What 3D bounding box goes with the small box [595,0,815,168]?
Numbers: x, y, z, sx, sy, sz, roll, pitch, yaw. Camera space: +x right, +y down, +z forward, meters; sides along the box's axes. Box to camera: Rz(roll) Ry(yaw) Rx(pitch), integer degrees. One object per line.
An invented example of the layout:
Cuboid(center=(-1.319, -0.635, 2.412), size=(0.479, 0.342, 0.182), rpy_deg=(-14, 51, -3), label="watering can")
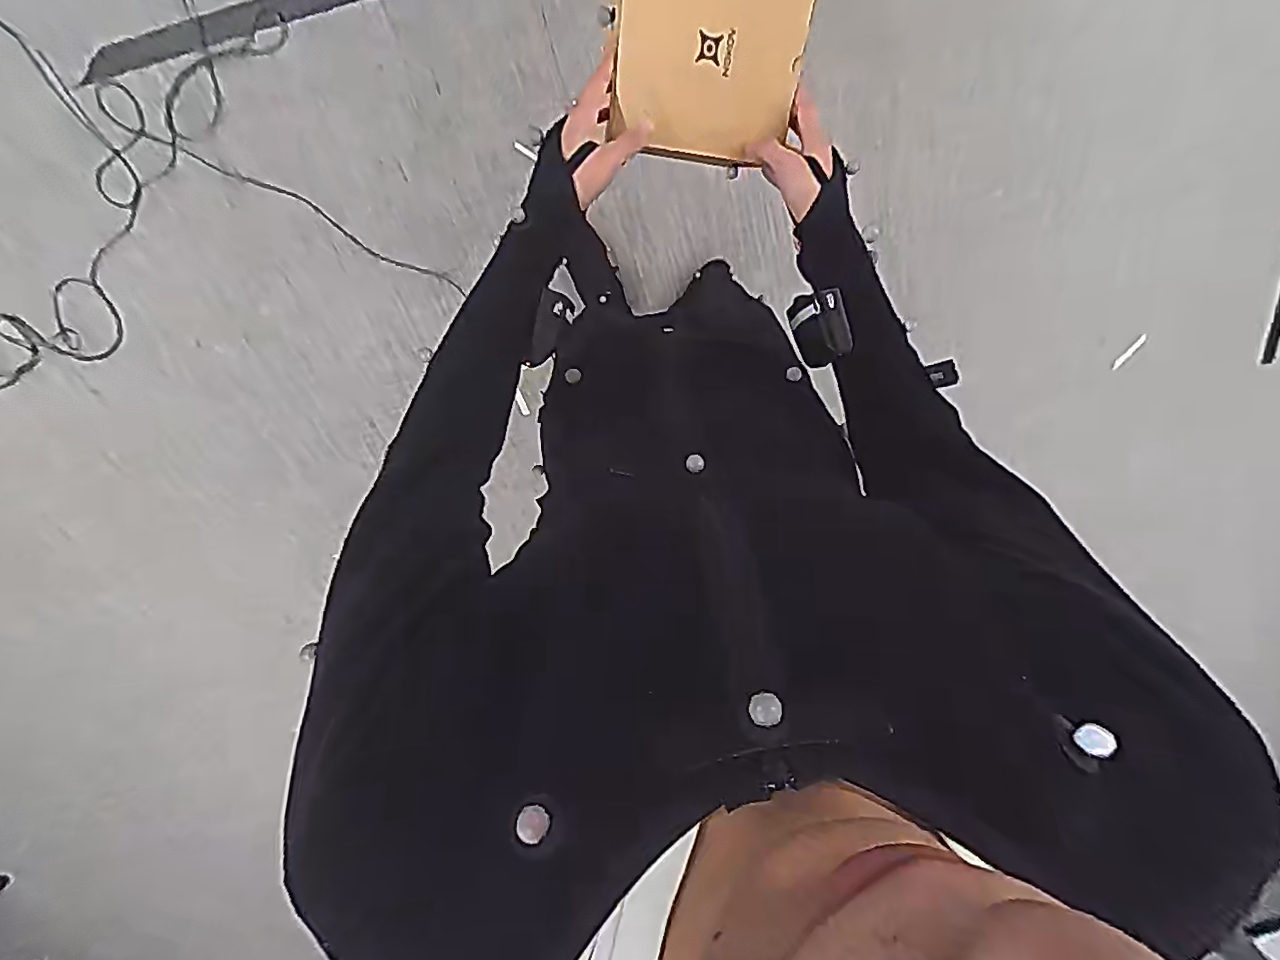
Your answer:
Cuboid(center=(0.050, -0.422, 0.551), size=(0.179, 0.176, 0.168), rpy_deg=(0, 120, -12), label="small box")
